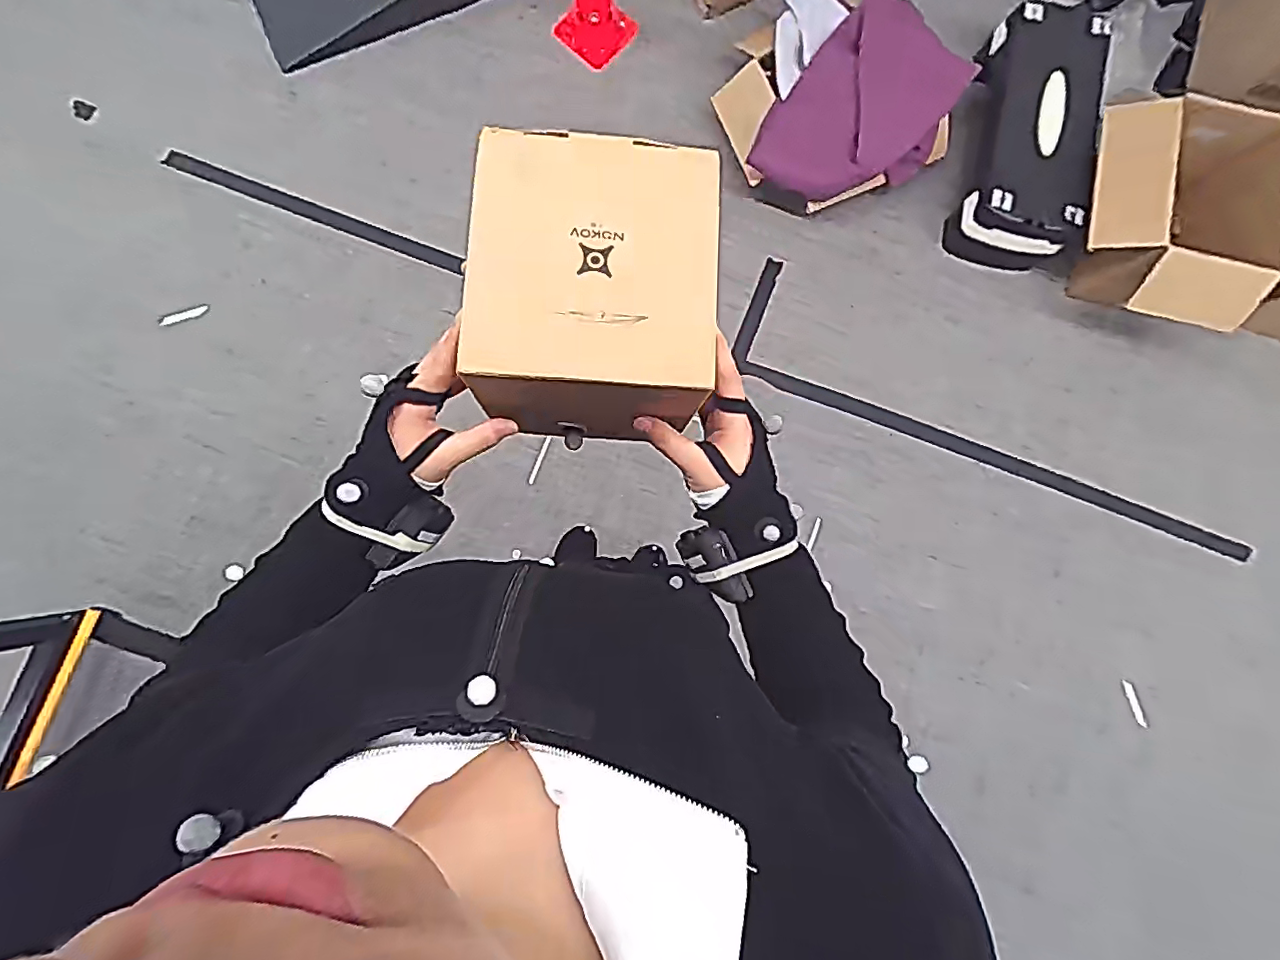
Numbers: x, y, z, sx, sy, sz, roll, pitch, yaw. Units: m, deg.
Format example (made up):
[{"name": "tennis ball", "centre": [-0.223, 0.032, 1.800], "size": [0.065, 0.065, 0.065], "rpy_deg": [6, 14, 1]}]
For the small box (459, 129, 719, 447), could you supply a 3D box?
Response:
[{"name": "small box", "centre": [-0.037, -0.133, 0.434], "size": [0.168, 0.176, 0.179], "rpy_deg": [2, 81, -5]}]
